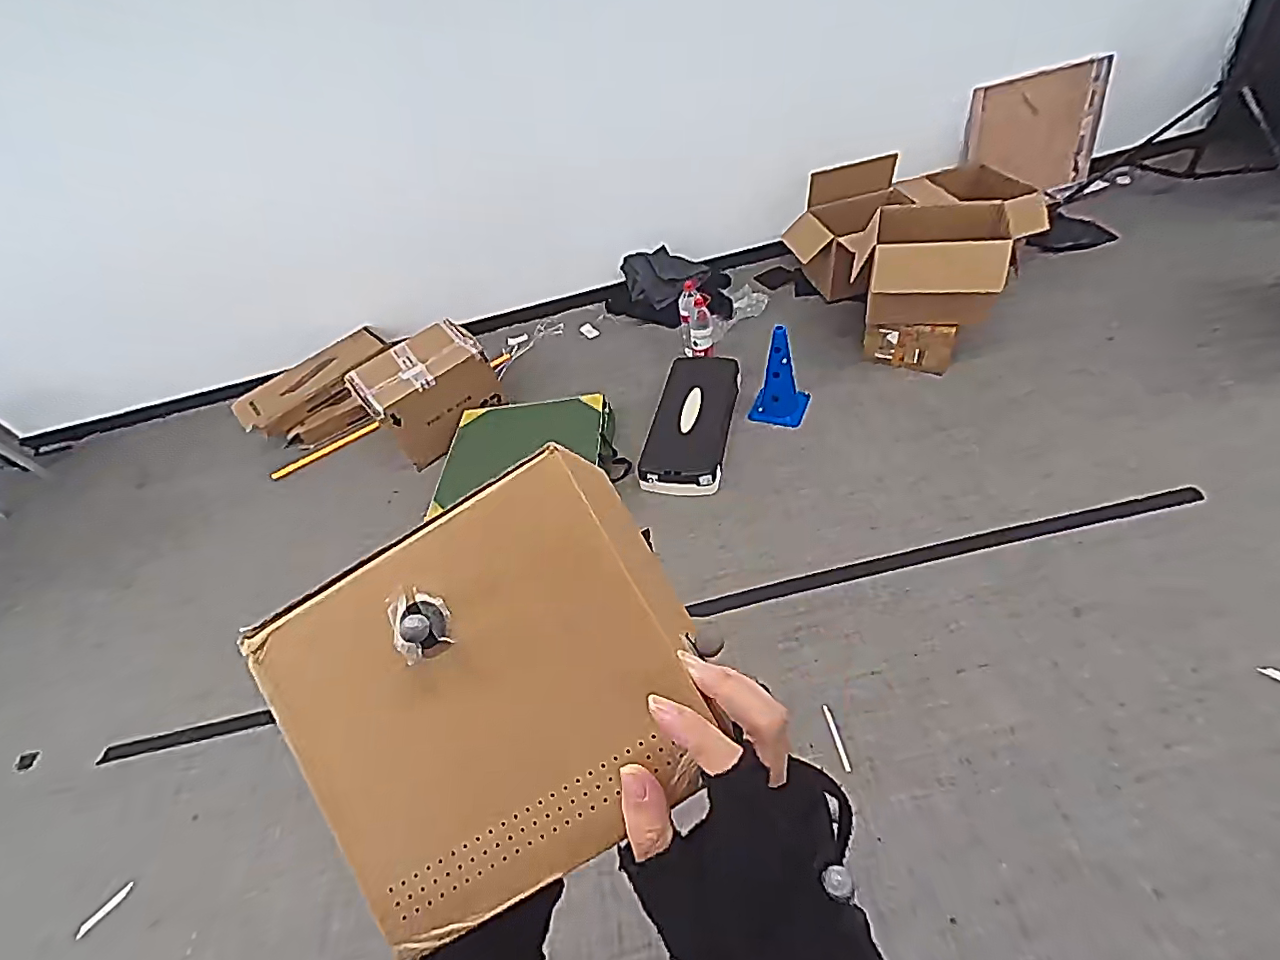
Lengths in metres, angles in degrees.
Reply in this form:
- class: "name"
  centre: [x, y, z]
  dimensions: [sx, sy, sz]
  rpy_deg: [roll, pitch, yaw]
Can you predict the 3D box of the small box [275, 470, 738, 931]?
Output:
- class: "small box"
  centre: [-0.062, 0.114, 0.335]
  dimensions: [0.179, 0.168, 0.176]
  rpy_deg: [-31, 85, 2]
